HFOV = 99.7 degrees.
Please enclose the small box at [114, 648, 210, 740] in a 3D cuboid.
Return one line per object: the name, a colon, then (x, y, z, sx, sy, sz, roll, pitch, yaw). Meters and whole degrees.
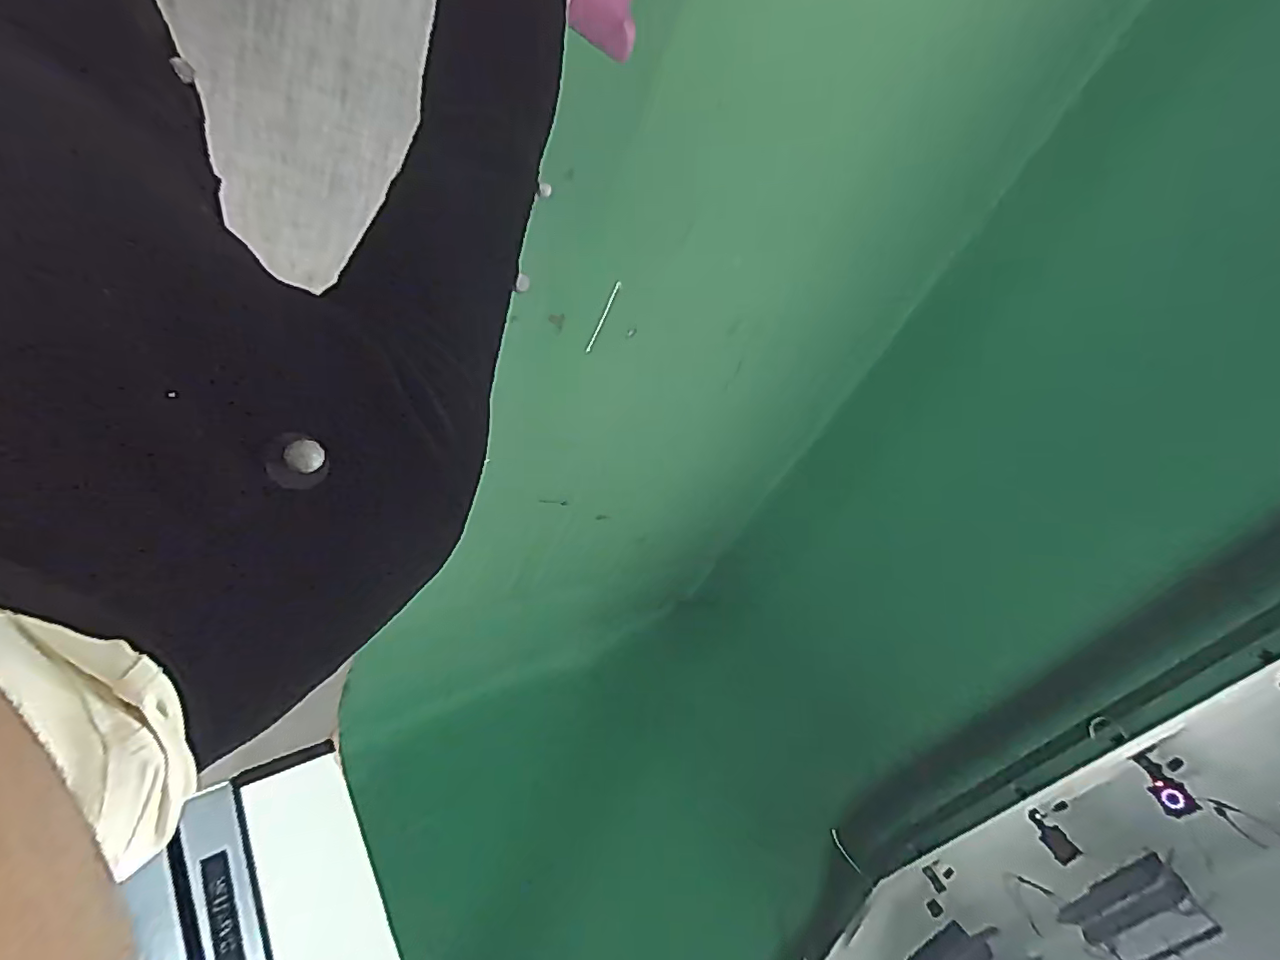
small box: (-1.392, 0.613, 1.572, 0.179, 0.176, 0.168, 5, 128, -51)
